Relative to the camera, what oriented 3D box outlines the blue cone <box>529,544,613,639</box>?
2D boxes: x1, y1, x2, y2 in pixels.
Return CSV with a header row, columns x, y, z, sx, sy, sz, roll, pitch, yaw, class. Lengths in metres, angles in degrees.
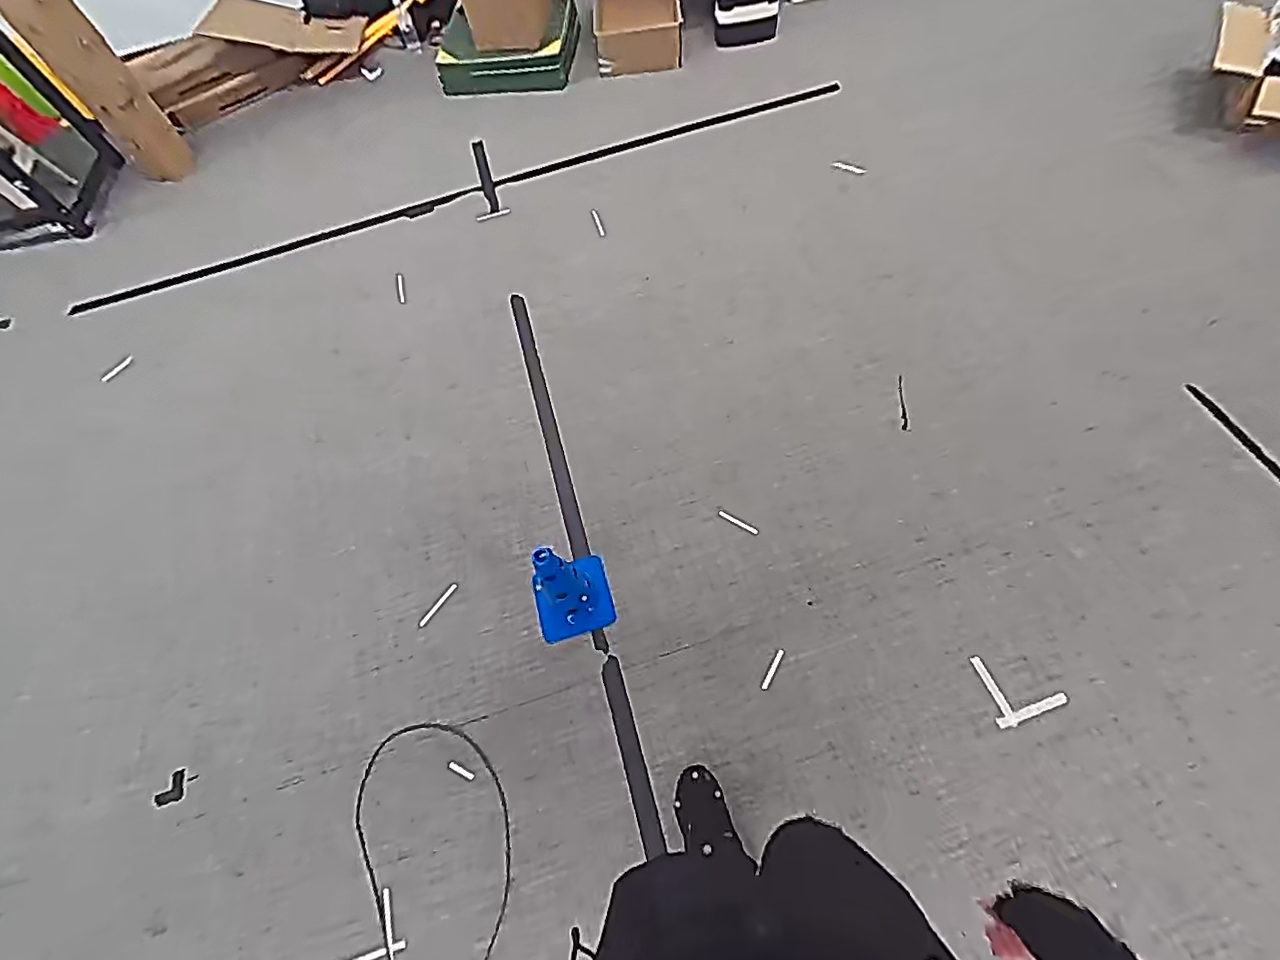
x,y,z,sx,sy,sz,roll,pitch,yaw,class
-0.192,0.240,1.286,0.193,0.380,0.192,-19,64,-3,blue cone
